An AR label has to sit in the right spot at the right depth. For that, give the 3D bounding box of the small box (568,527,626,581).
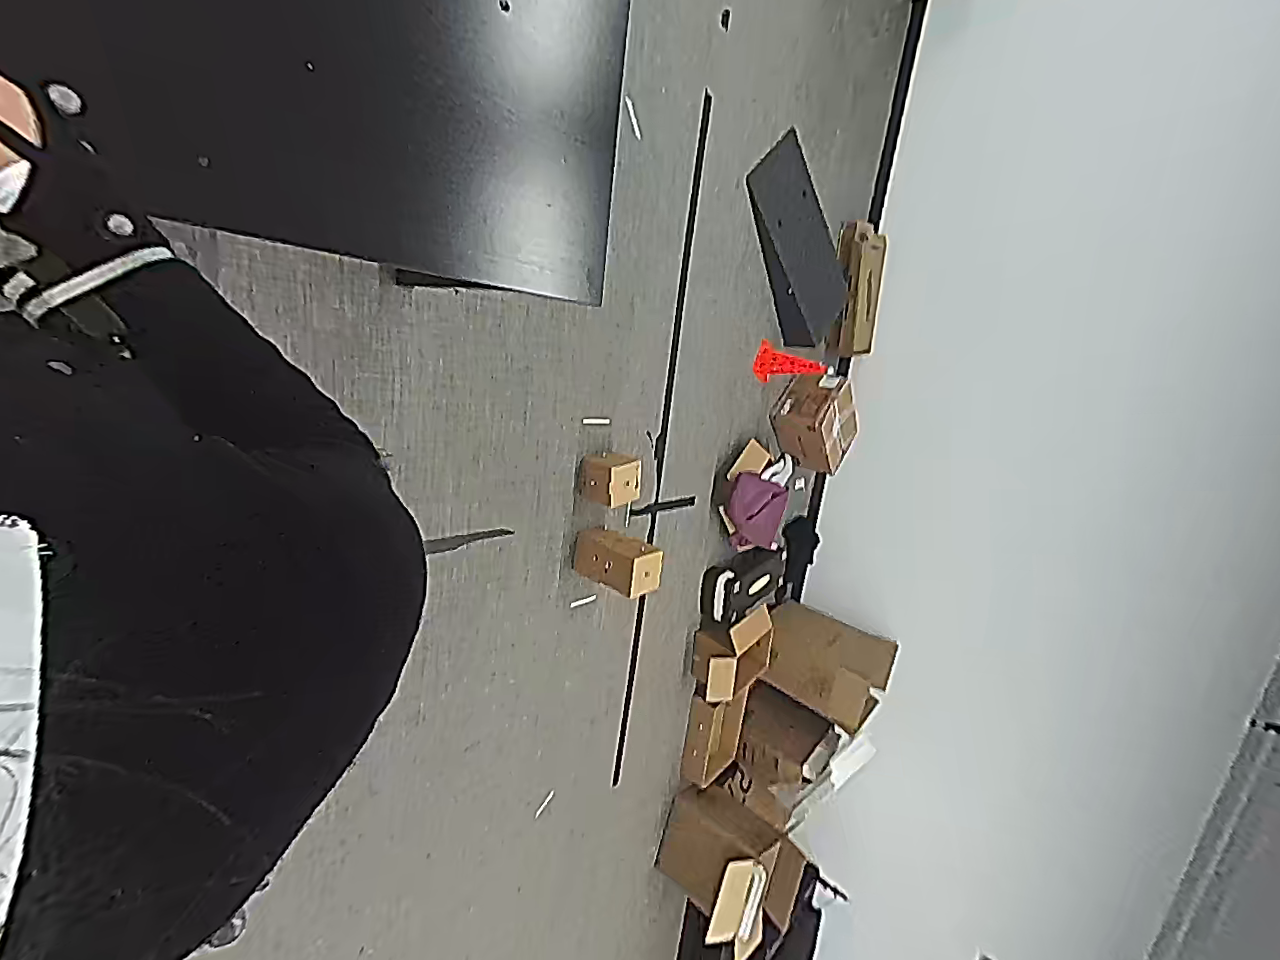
[{"bbox_3d":[-0.179,0.301,2.259,0.168,0.176,0.179,-3,108,-50],"label":"small box"}]

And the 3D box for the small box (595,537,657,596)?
[{"bbox_3d":[-0.056,0.336,2.159,0.179,0.176,0.168,-10,111,-47],"label":"small box"}]

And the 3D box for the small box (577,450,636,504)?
[{"bbox_3d":[-0.139,-0.016,2.177,0.179,0.176,0.168,-16,116,-46],"label":"small box"}]
